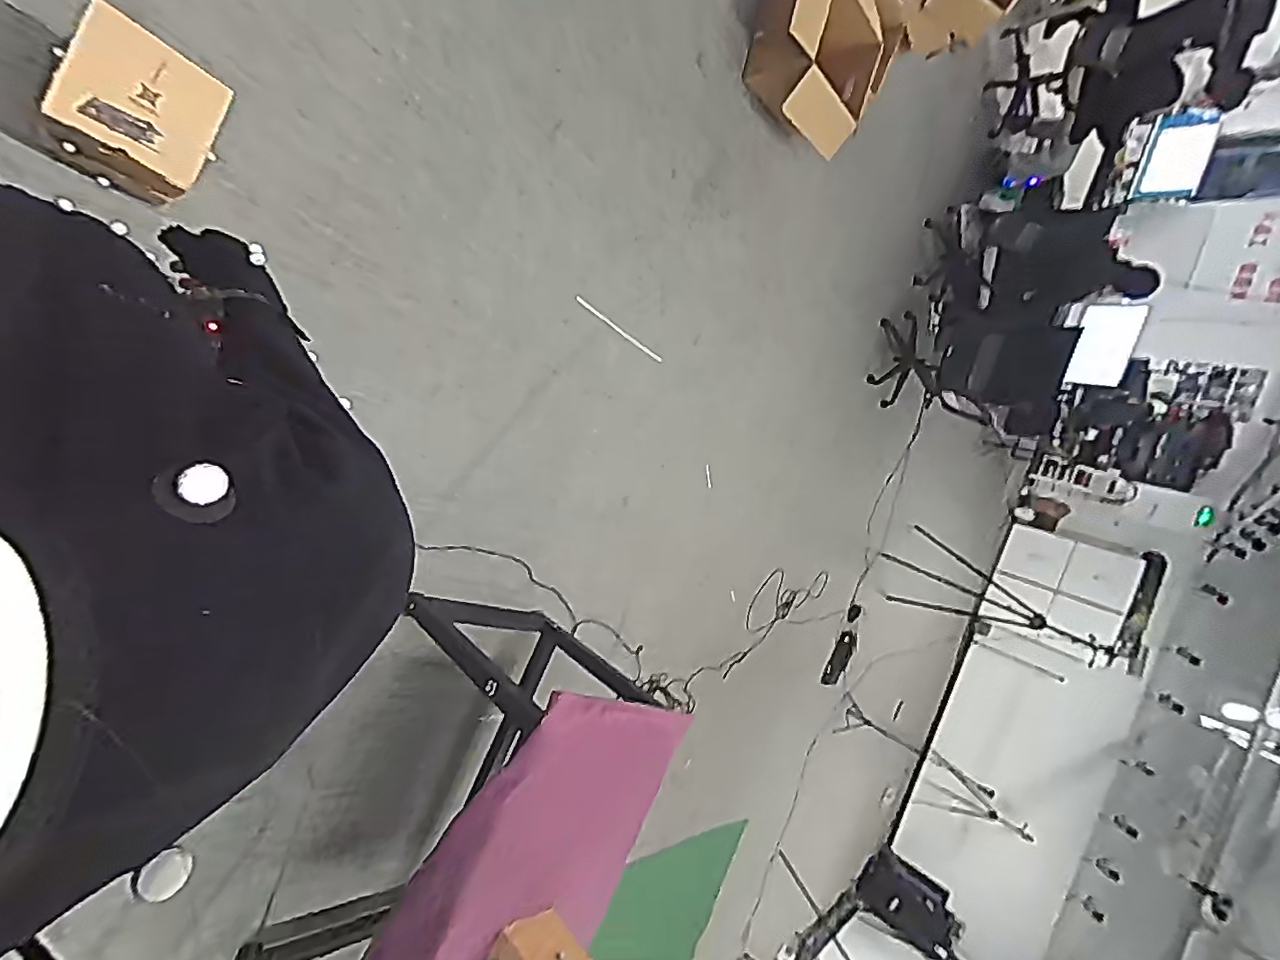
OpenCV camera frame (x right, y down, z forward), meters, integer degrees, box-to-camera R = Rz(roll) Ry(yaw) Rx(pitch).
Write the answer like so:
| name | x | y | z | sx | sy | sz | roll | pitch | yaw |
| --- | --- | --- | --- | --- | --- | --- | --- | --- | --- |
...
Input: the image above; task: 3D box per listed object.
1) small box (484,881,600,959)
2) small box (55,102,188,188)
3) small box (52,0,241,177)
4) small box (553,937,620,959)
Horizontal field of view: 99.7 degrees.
| name | x | y | z | sx | sy | sz | roll | pitch | yaw |
| --- | --- | --- | --- | --- | --- | --- | --- | --- | --- |
| small box | -0.237 | 1.116 | 1.305 | 0.179 | 0.176 | 0.168 | 32 | 83 | -48 |
| small box | -0.870 | -0.640 | 0.939 | 0.168 | 0.176 | 0.179 | 24 | 90 | -48 |
| small box | -0.754 | -0.597 | 0.831 | 0.168 | 0.176 | 0.179 | 22 | 90 | -49 |
| small box | -0.127 | 1.171 | 1.200 | 0.168 | 0.176 | 0.179 | 30 | 85 | -49 |
